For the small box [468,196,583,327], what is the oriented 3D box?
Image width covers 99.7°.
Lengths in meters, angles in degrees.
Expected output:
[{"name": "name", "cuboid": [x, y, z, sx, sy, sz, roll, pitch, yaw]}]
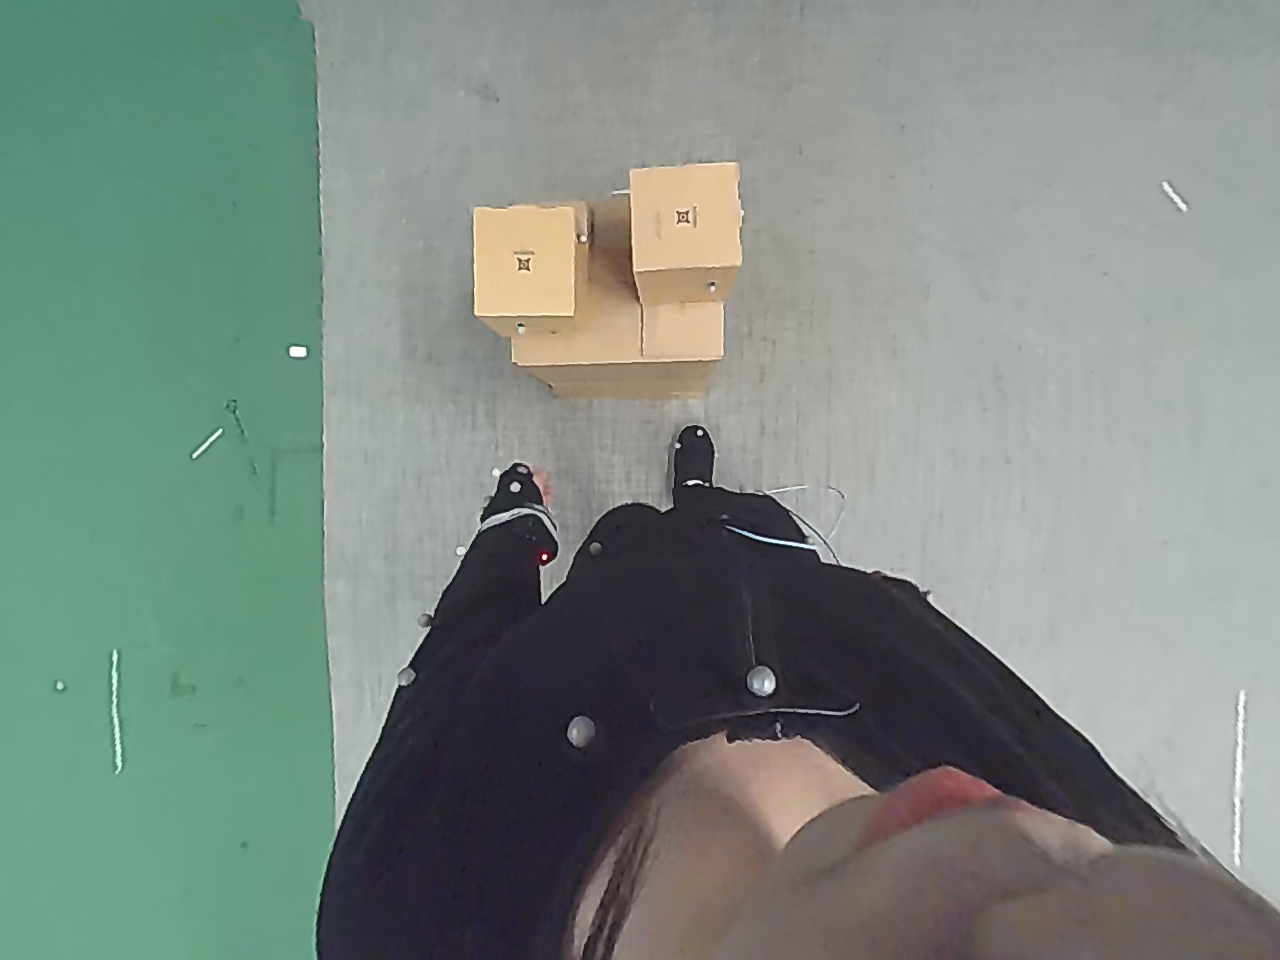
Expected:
[{"name": "small box", "cuboid": [-0.191, -0.369, 0.943, 0.168, 0.176, 0.179, 1, 94, 1]}]

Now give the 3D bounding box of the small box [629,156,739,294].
[{"name": "small box", "cuboid": [0.073, -0.427, 0.930, 0.179, 0.176, 0.168, 0, 91, 4]}]
